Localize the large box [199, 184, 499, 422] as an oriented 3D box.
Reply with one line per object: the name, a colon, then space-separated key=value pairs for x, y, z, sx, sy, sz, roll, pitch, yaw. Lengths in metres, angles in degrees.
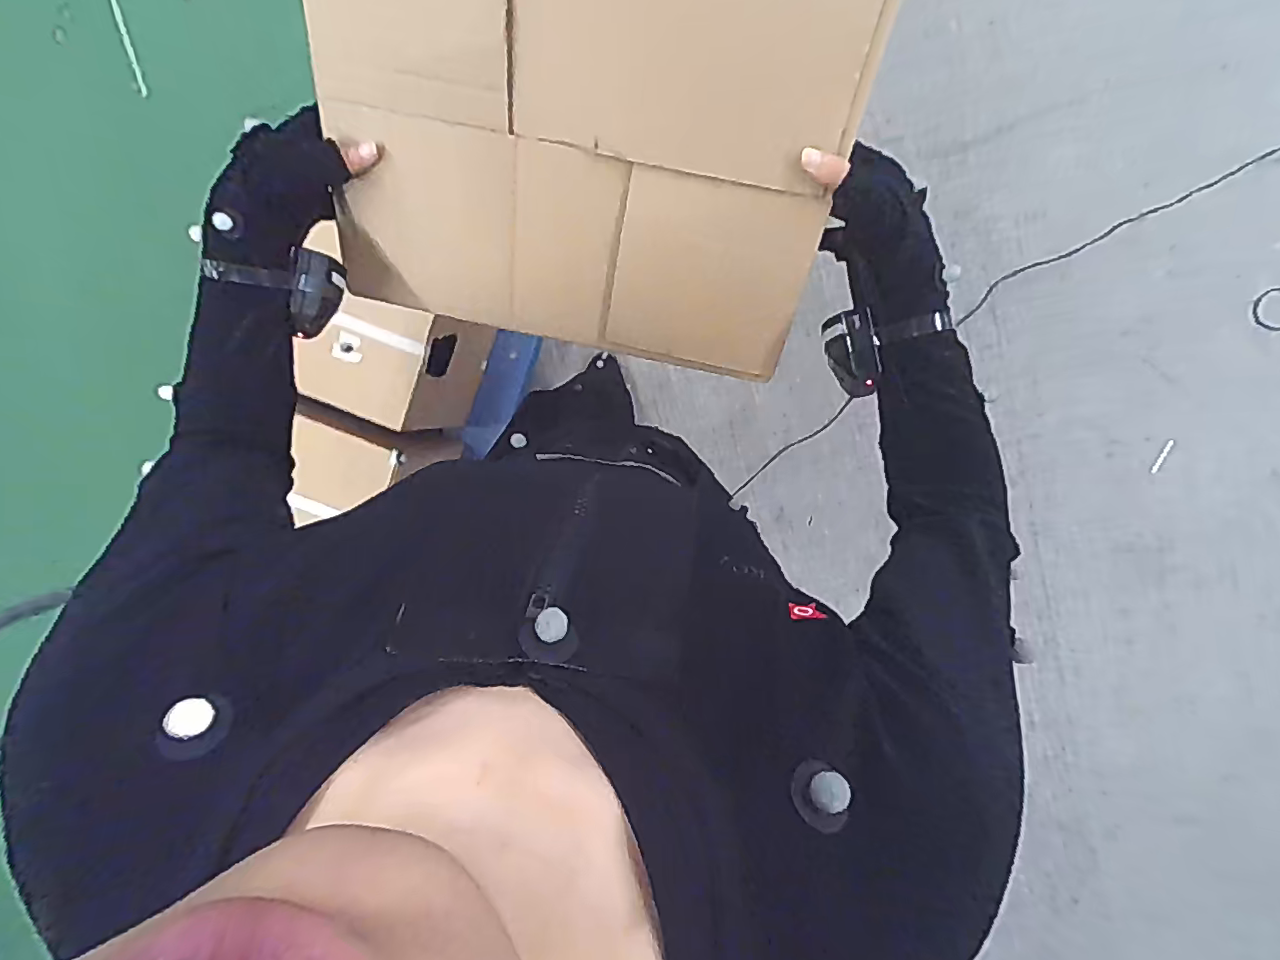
large box: x=-0.565 y=-0.332 z=1.118 sx=0.408 sy=0.320 sz=0.320 roll=22 pitch=98 yaw=0
